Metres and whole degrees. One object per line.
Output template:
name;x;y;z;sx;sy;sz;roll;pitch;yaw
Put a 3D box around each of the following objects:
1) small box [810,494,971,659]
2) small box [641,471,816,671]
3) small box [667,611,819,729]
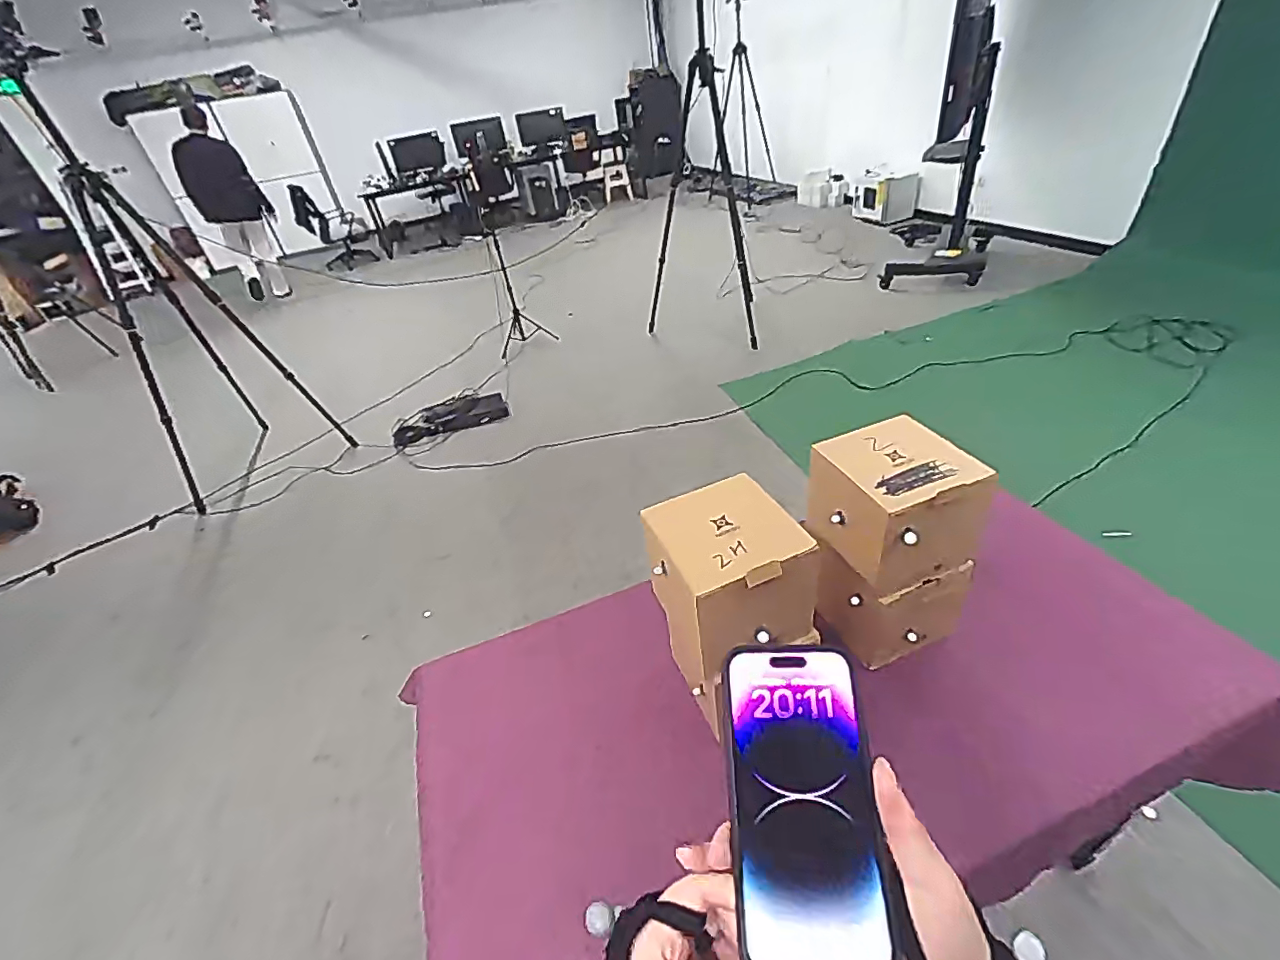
small box;0.394;0.157;0.890;0.168;0.176;0.179;-20;39;-12
small box;0.115;0.120;0.736;0.168;0.176;0.179;-20;39;-12
small box;0.153;0.251;0.831;0.168;0.176;0.179;-20;38;-12
